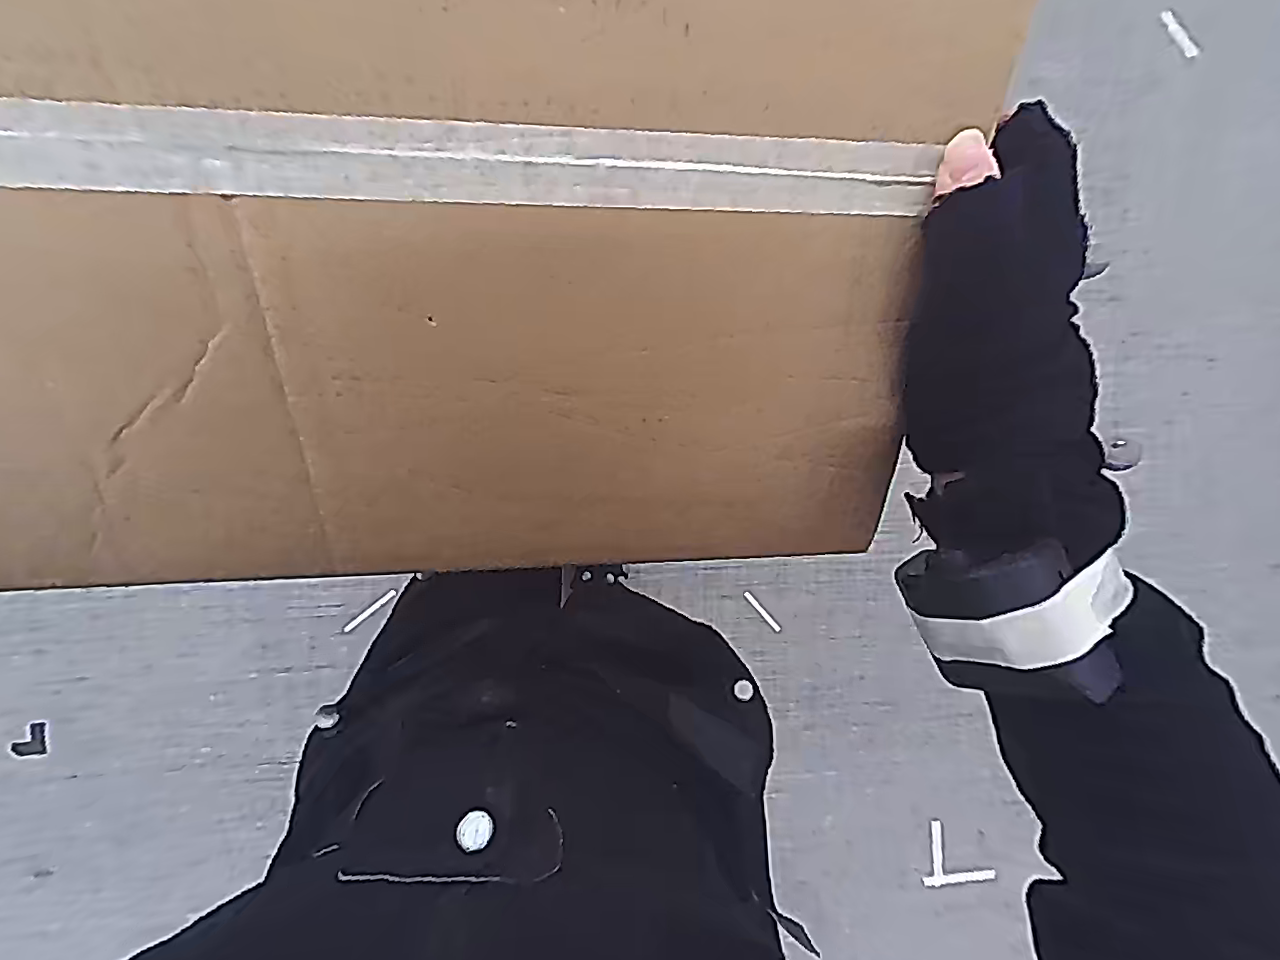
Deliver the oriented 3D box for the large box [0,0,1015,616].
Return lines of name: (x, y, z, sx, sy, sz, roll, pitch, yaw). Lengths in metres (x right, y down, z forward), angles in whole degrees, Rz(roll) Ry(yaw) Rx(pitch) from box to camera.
large box: (-0.104, -0.156, 0.300, 0.408, 0.320, 0.320, -1, 119, -8)
